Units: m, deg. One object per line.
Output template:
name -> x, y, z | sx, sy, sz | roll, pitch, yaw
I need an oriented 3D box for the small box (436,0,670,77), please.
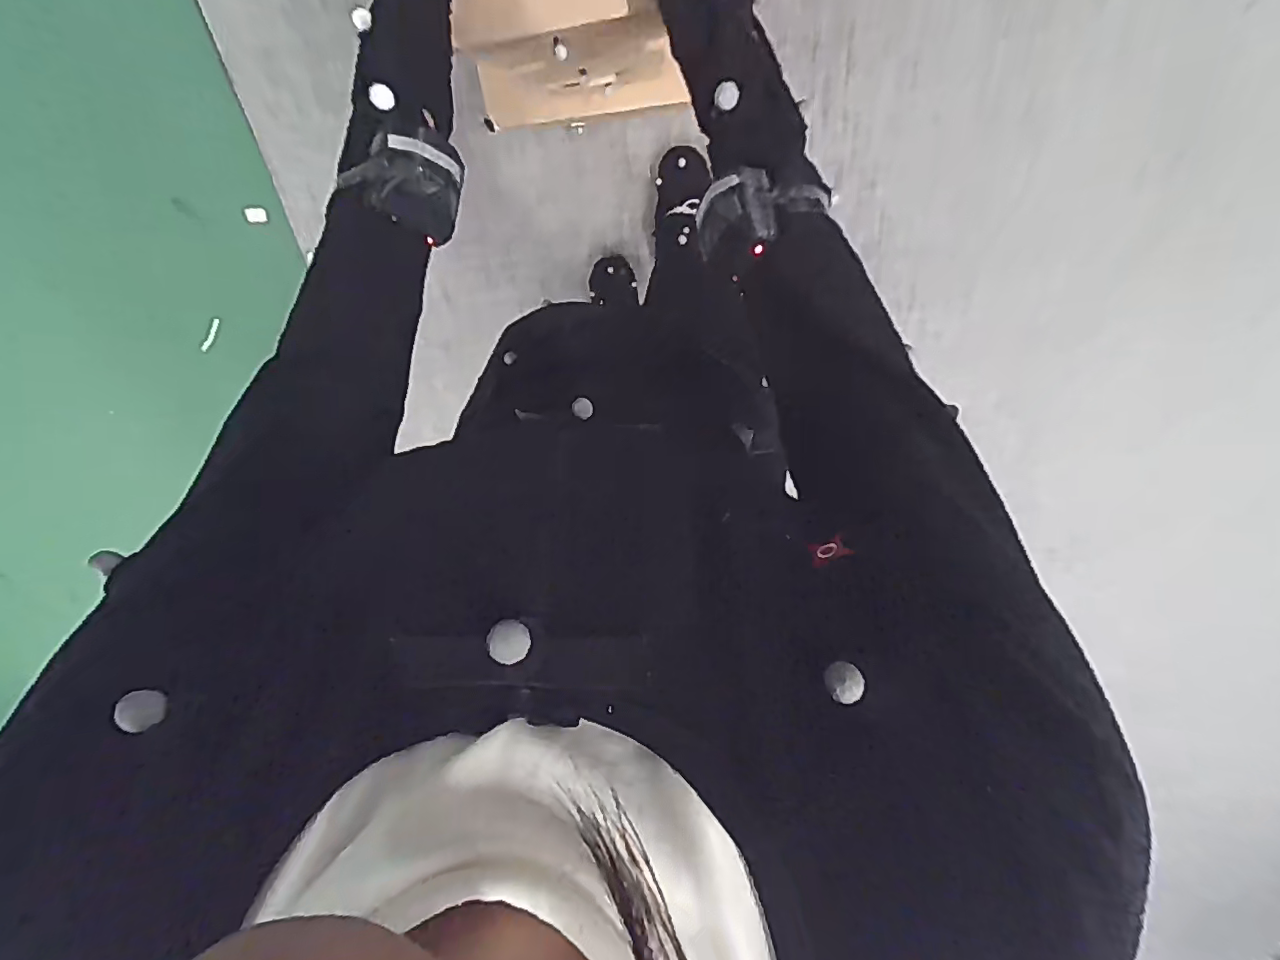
small box -> -0.072, -0.450, 0.445 | 0.179, 0.176, 0.168 | -6, 124, 7

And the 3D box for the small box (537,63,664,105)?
small box -> -0.062, -0.622, 0.722 | 0.168, 0.176, 0.179 | -7, 123, 9

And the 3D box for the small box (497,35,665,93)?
small box -> -0.066, -0.532, 0.584 | 0.179, 0.176, 0.168 | -3, 122, 8
